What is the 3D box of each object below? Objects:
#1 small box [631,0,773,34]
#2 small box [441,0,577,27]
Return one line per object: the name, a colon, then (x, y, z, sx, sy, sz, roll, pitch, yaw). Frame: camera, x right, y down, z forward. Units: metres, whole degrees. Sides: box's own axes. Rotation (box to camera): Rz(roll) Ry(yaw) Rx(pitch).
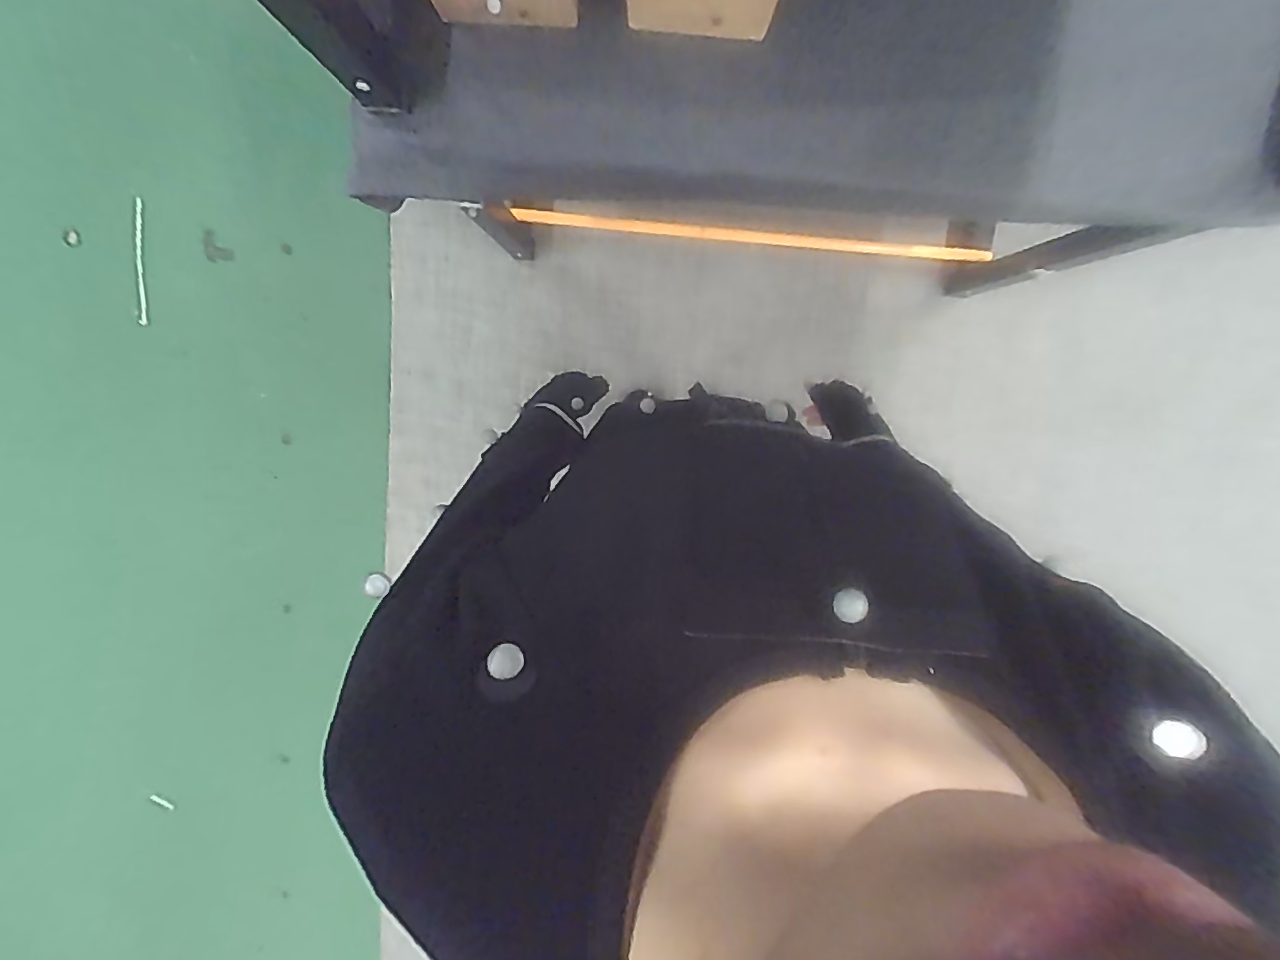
small box: (0.073, -0.609, 0.557, 0.168, 0.176, 0.179, 5, 99, 0)
small box: (-0.153, -0.622, 0.556, 0.168, 0.176, 0.179, 3, 100, 0)
